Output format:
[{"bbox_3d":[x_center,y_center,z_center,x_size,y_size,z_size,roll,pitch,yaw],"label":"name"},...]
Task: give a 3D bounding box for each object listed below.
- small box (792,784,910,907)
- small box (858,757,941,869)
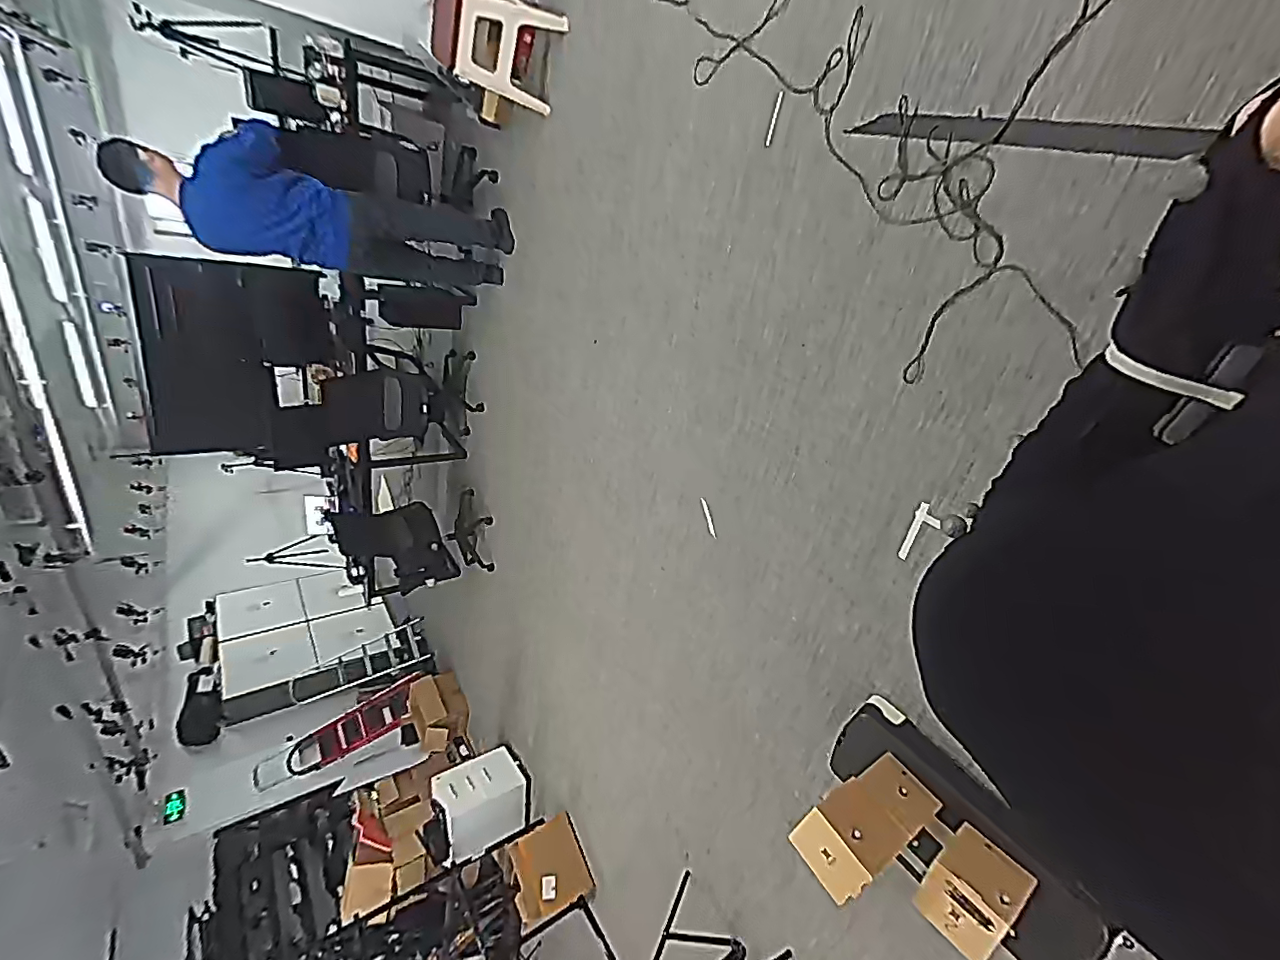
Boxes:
[{"bbox_3d":[0.520,0.888,1.335,0.179,0.176,0.168,46,131,37],"label":"small box"},{"bbox_3d":[0.656,0.871,1.423,0.168,0.176,0.179,44,131,40],"label":"small box"}]
